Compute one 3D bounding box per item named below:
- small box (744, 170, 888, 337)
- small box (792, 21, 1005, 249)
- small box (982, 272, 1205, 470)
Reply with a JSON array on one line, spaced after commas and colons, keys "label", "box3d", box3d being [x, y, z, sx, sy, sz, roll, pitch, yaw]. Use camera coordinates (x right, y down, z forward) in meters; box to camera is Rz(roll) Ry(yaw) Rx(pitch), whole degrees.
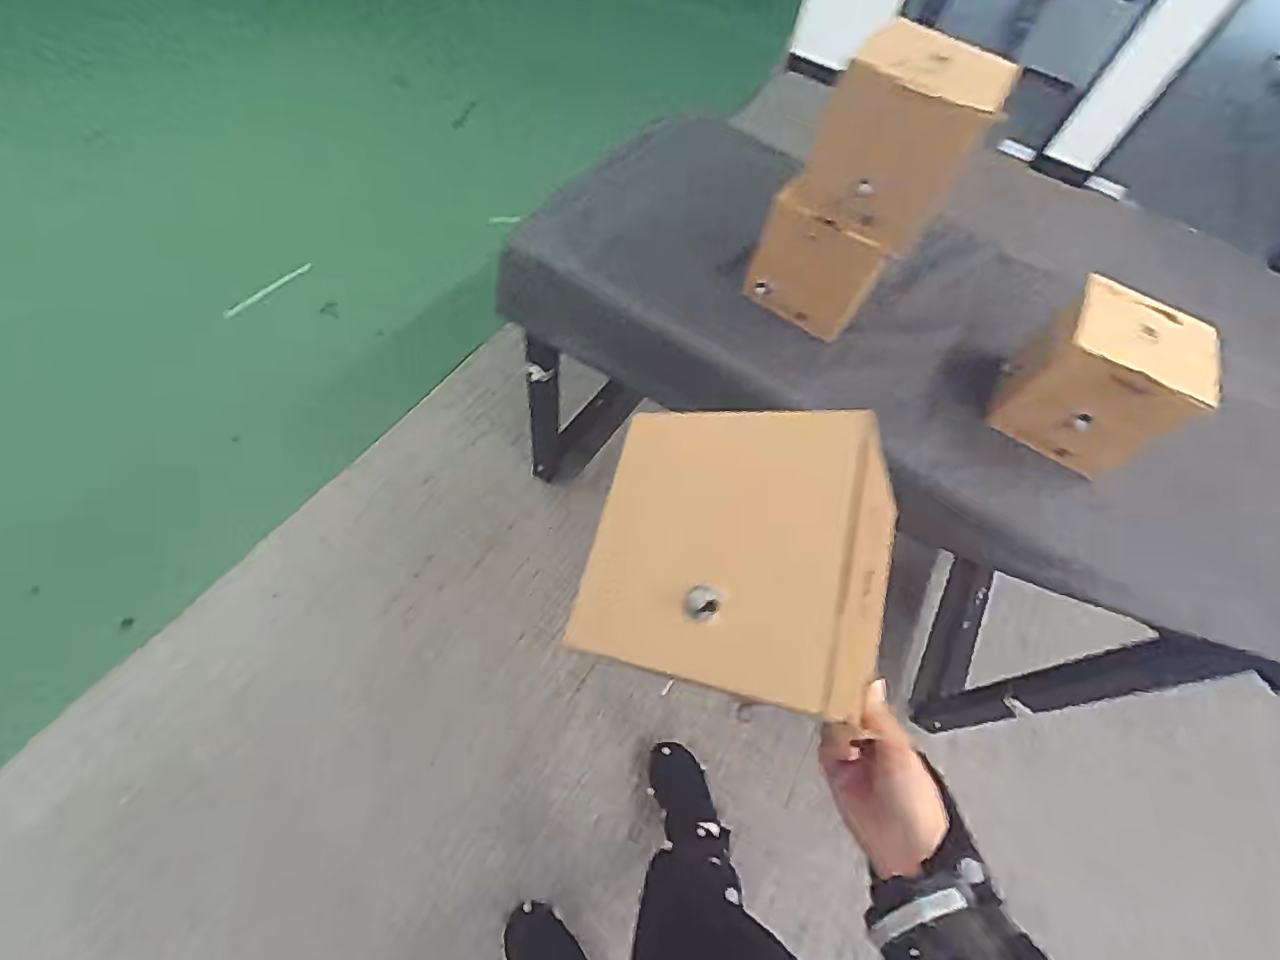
[{"label": "small box", "box3d": [0.279, -0.353, 0.829, 0.168, 0.176, 0.179, 34, 59, 11]}, {"label": "small box", "box3d": [0.318, -0.436, 0.691, 0.168, 0.176, 0.179, 31, 59, 10]}, {"label": "small box", "box3d": [0.620, -0.146, 0.756, 0.168, 0.176, 0.179, 32, 60, 11]}]
